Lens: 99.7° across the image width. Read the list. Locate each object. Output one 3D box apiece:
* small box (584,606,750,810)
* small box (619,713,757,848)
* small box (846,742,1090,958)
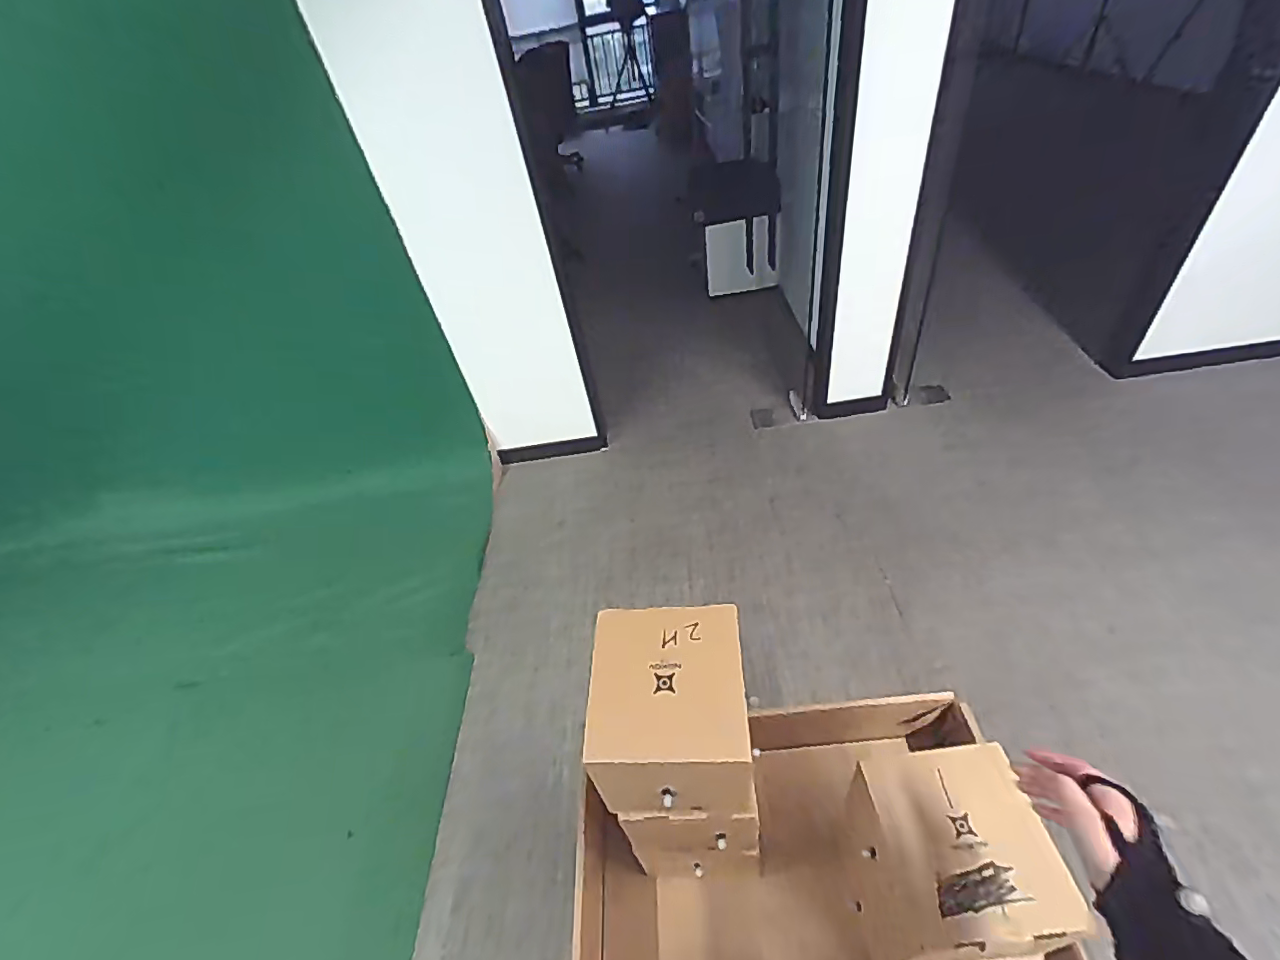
[{"bbox_3d":[0.040,0.269,0.634,0.168,0.176,0.179,-3,44,7],"label":"small box"},{"bbox_3d":[0.069,0.389,0.743,0.168,0.176,0.179,-5,43,6],"label":"small box"},{"bbox_3d":[0.355,0.434,0.630,0.168,0.176,0.179,-9,43,3],"label":"small box"}]
